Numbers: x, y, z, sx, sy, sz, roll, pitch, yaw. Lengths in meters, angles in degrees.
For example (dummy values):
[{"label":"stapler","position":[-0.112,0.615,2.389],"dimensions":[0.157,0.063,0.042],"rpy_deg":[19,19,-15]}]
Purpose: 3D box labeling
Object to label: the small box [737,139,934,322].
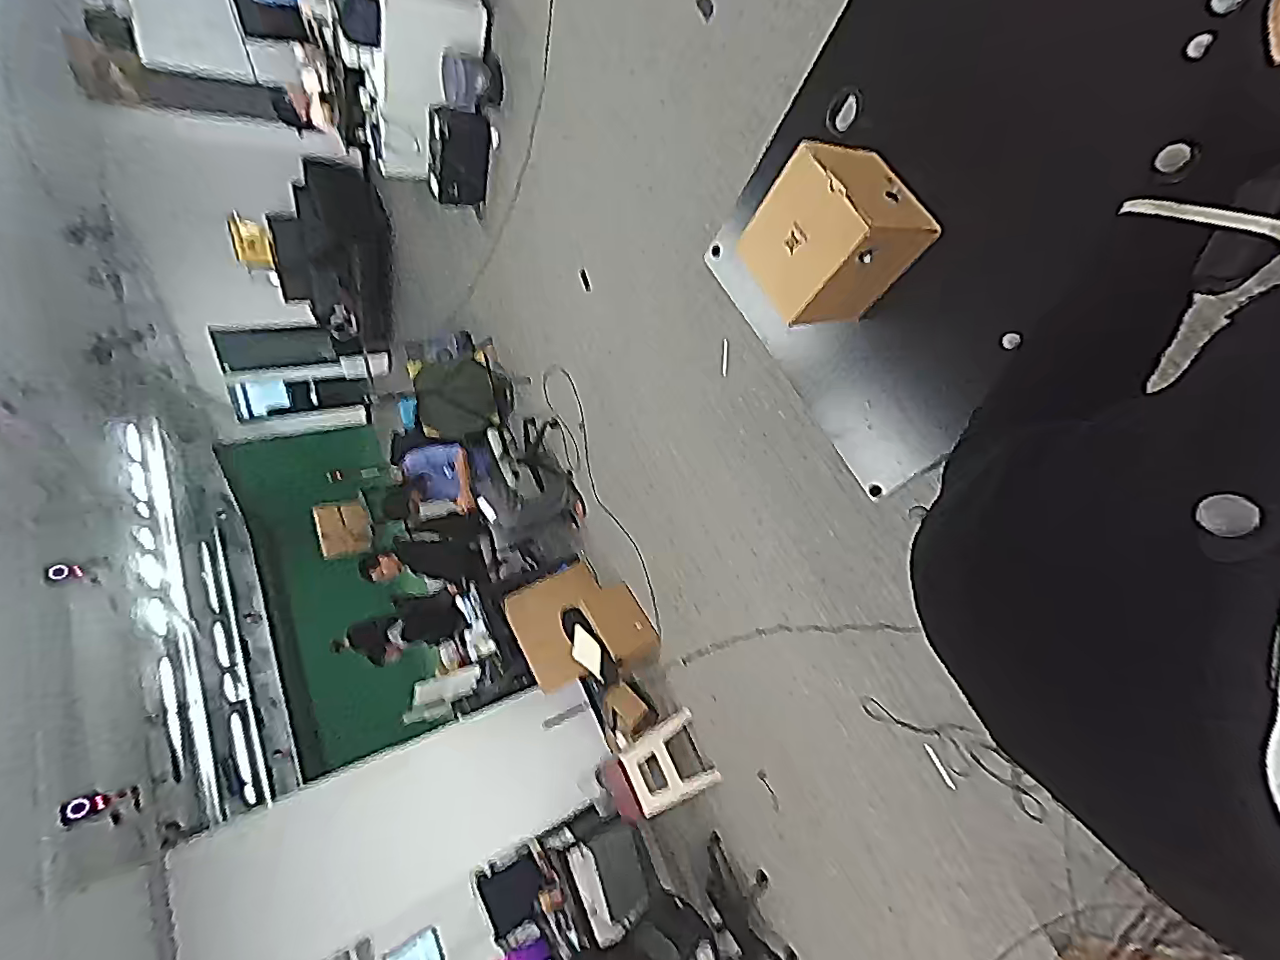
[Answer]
[{"label":"small box","position":[0.282,-0.355,0.794],"dimensions":[0.168,0.176,0.179],"rpy_deg":[63,145,19]}]
